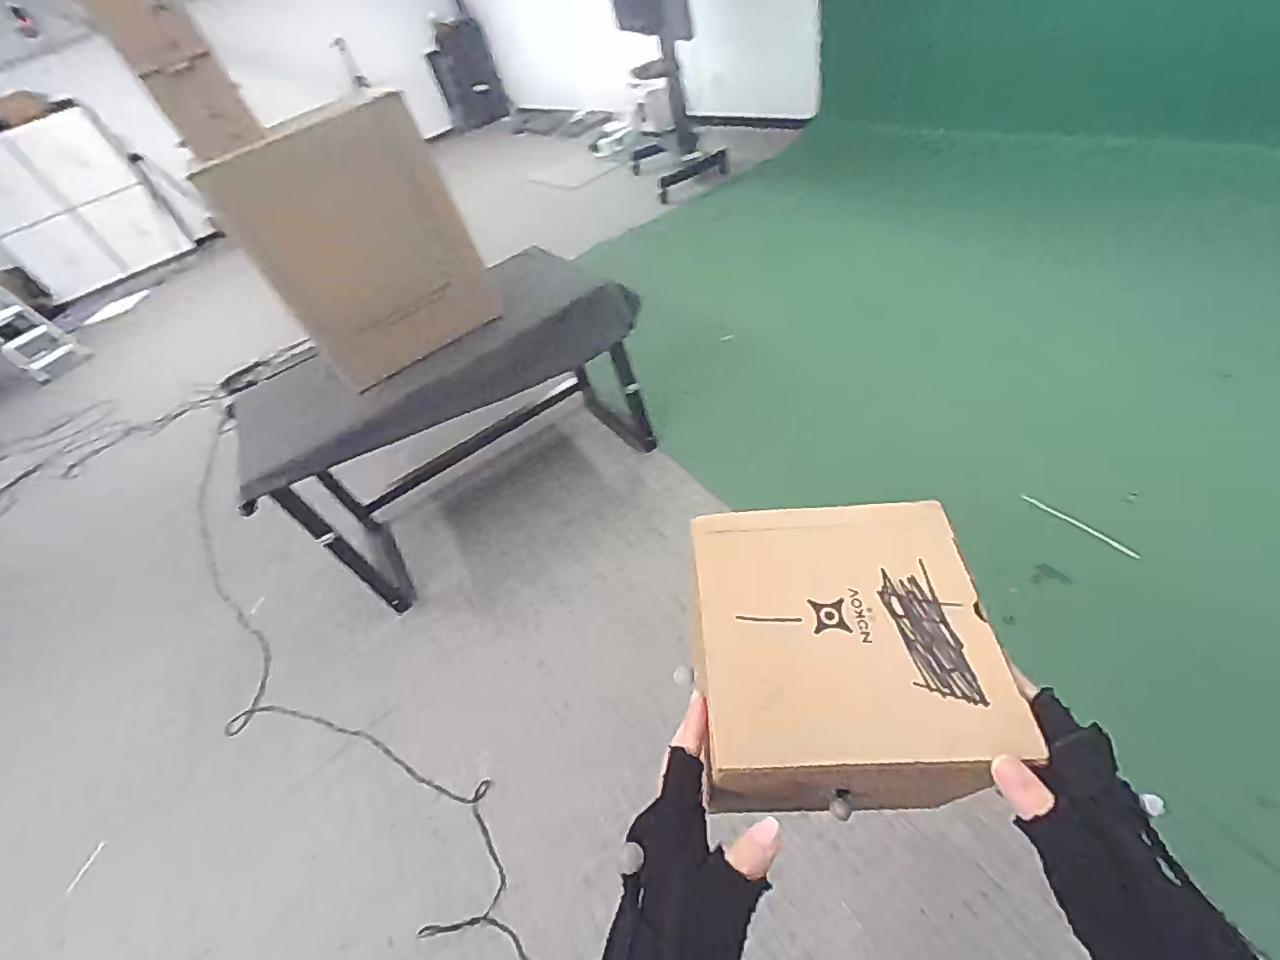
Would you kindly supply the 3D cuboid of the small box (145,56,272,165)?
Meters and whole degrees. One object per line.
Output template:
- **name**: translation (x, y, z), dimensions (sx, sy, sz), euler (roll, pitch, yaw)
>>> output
- **small box**: translation (-0.993, -0.854, 1.253), dimensions (0.168, 0.176, 0.179), euler (-35, 48, -16)

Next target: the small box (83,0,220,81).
- **small box**: translation (-1.024, -0.961, 1.134), dimensions (0.168, 0.176, 0.179), euler (-34, 46, -16)
